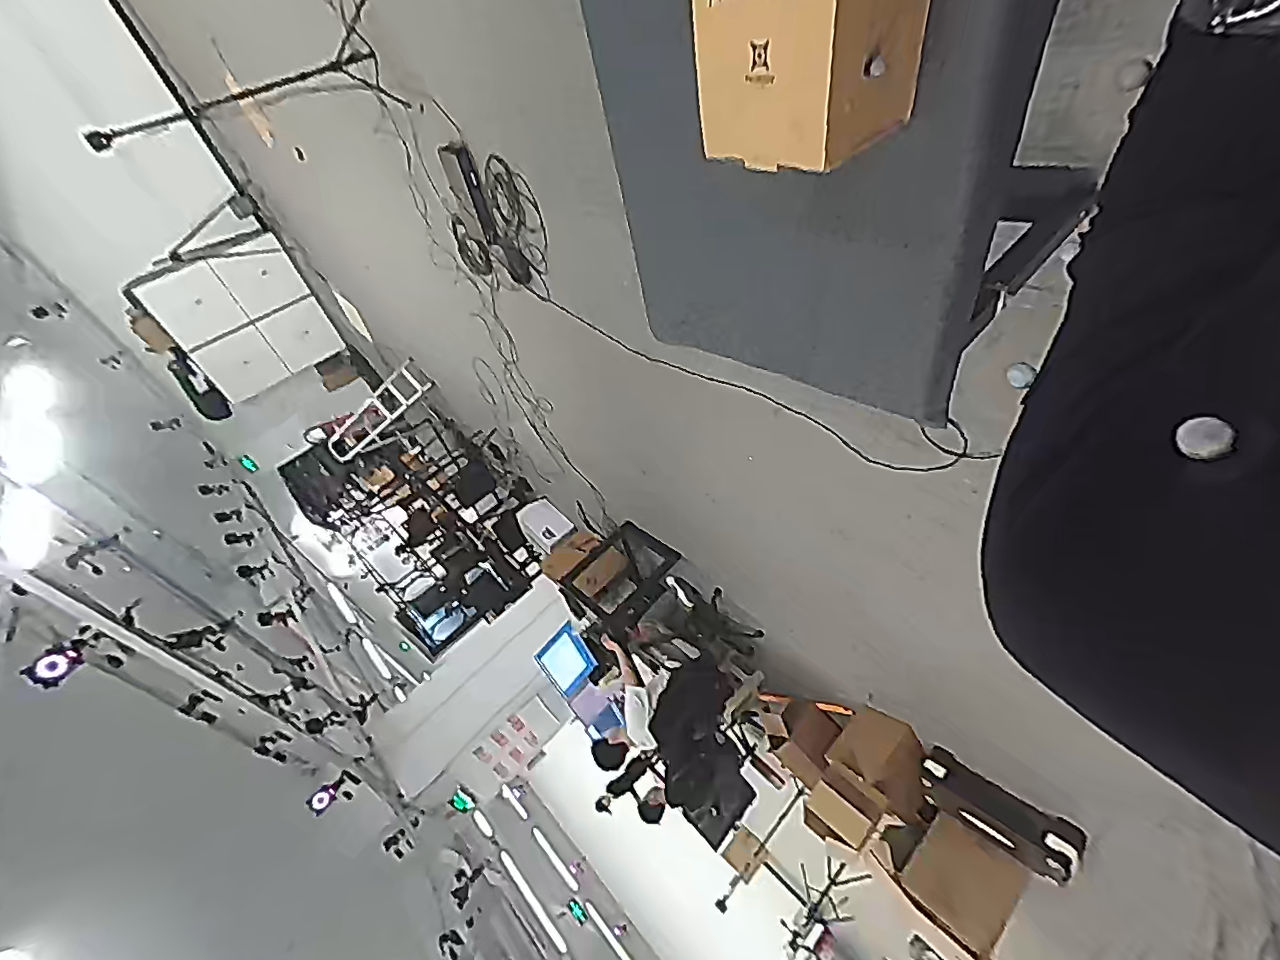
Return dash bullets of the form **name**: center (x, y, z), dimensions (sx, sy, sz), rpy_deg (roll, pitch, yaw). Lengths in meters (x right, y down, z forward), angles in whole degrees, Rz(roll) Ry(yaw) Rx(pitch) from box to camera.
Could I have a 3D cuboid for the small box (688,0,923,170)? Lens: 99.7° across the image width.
- **small box**: center (0.171, -0.456, 0.561), dimensions (0.168, 0.176, 0.179), rpy_deg (34, 152, 35)
